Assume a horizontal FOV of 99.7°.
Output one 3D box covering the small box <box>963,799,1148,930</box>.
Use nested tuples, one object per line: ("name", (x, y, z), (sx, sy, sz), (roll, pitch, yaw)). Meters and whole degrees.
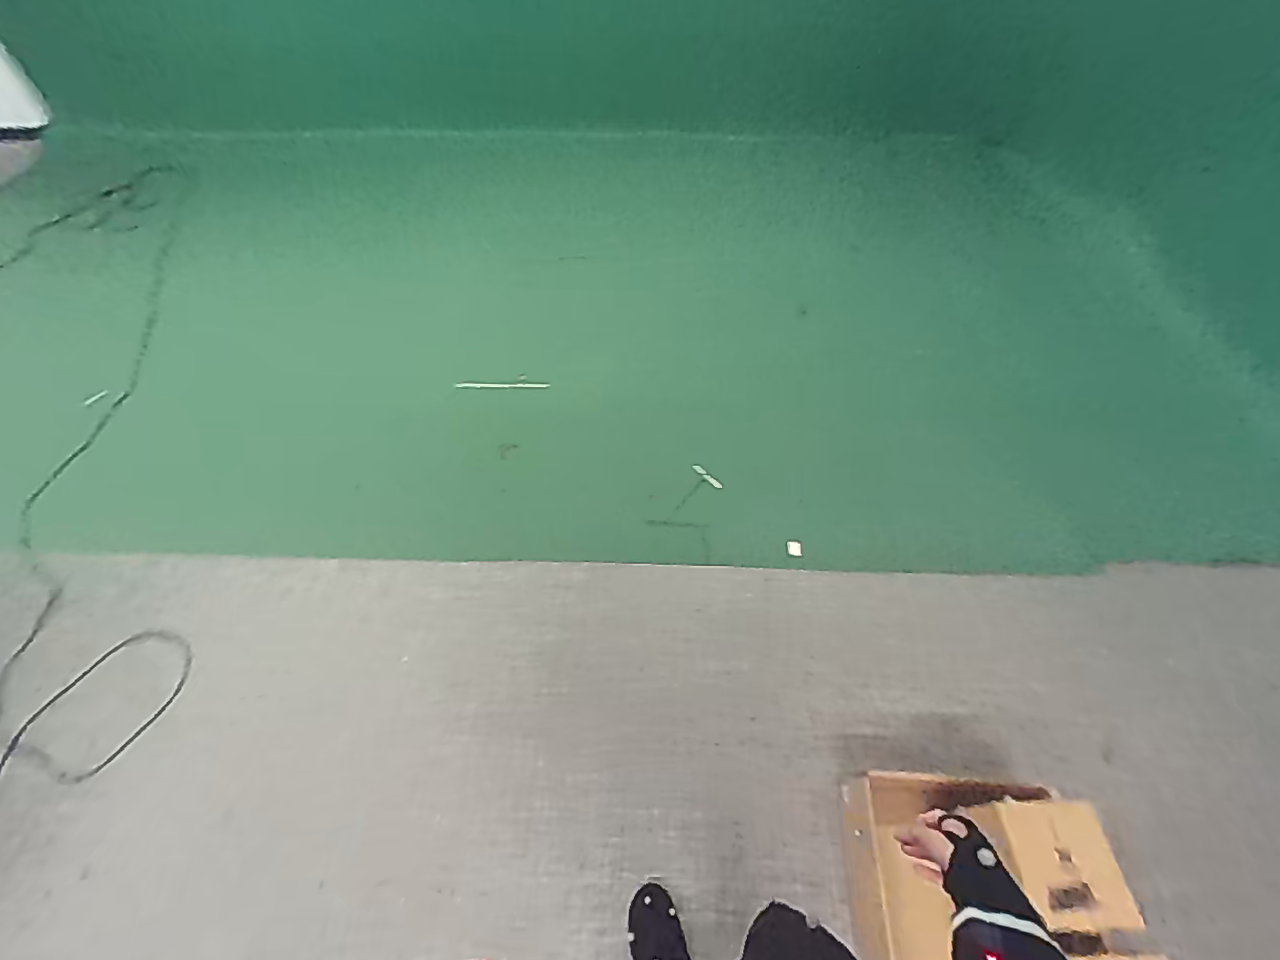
("small box", (0.709, 0.670, 0.950), (0.168, 0.176, 0.179), (-2, 53, 2))

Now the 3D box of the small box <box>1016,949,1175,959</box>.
("small box", (0.726, 0.836, 0.827), (0.168, 0.176, 0.179), (-1, 51, 1))

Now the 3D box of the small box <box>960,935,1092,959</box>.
("small box", (0.714, 0.928, 0.963), (0.179, 0.176, 0.168), (2, 52, 4))
